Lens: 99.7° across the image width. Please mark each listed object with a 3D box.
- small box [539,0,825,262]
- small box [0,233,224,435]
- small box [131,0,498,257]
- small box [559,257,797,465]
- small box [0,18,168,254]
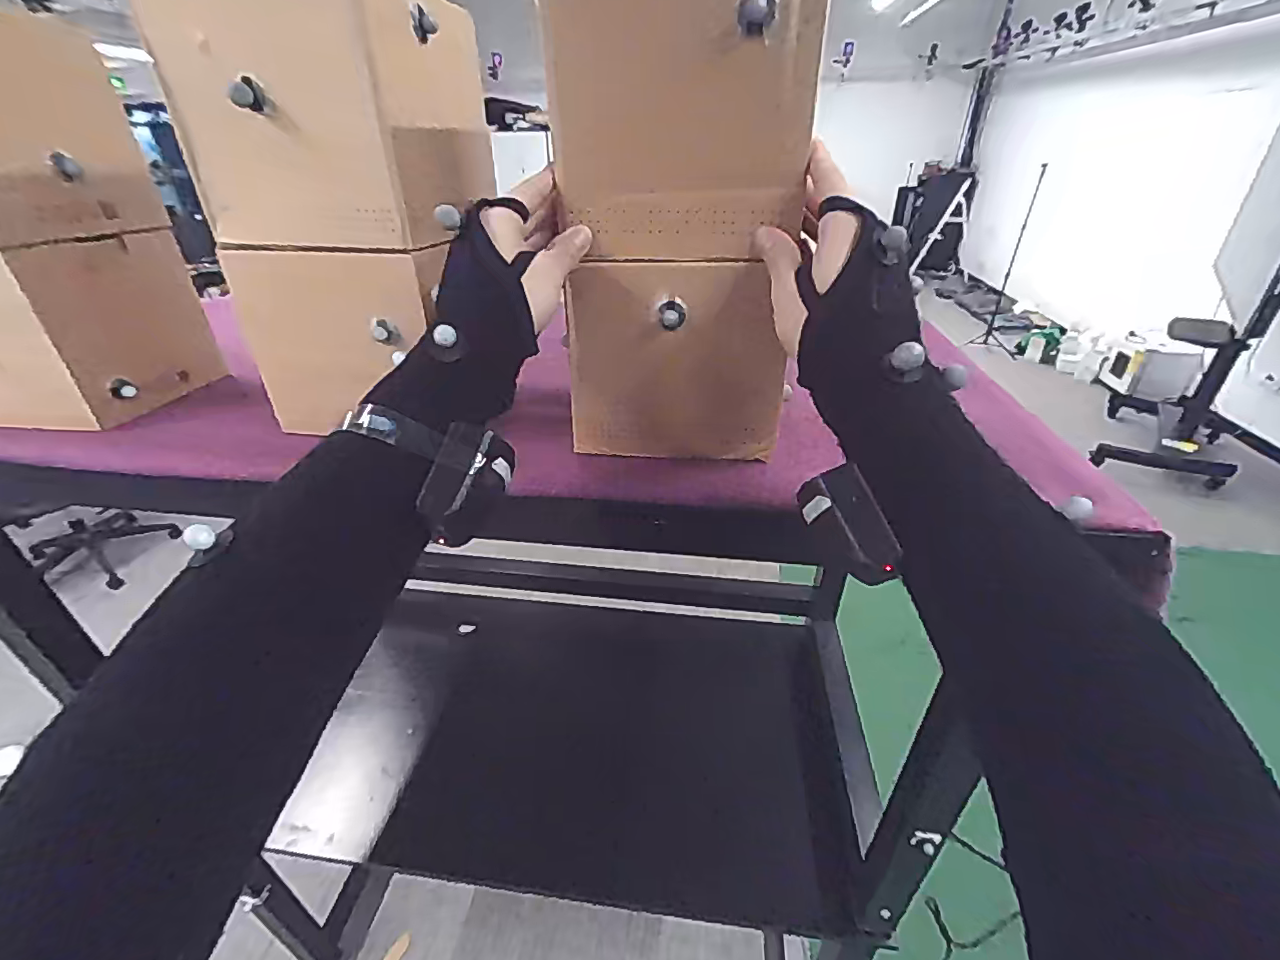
[{"bbox_3d":[0.037,-0.264,0.414,0.179,0.176,0.168,5,33,9],"label":"small box"},{"bbox_3d":[-0.591,-0.155,0.559,0.179,0.176,0.168,2,31,5],"label":"small box"},{"bbox_3d":[-0.240,-0.285,0.451,0.179,0.176,0.168,4,31,9],"label":"small box"},{"bbox_3d":[0.037,-0.124,0.495,0.179,0.176,0.168,3,32,6],"label":"small box"},{"bbox_3d":[-0.591,-0.297,0.476,0.179,0.176,0.168,3,31,6],"label":"small box"}]
